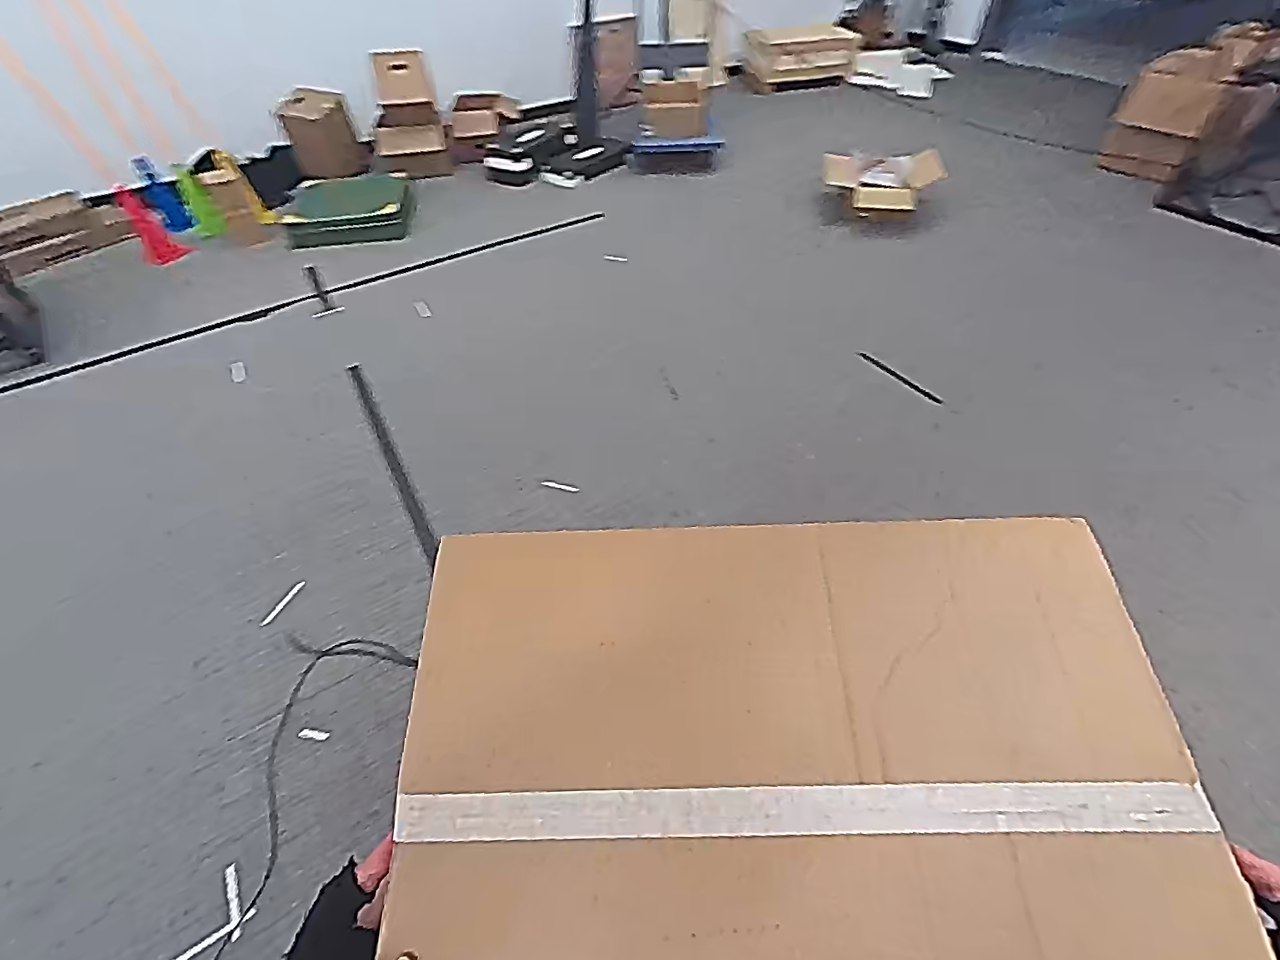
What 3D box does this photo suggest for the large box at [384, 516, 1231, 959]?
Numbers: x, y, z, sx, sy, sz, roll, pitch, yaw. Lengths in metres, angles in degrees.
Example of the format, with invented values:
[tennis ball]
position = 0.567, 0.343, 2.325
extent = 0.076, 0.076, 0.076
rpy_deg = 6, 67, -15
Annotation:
[large box]
position = 0.076, 0.240, 0.417
extent = 0.408, 0.320, 0.320
rpy_deg = -3, 64, 2
